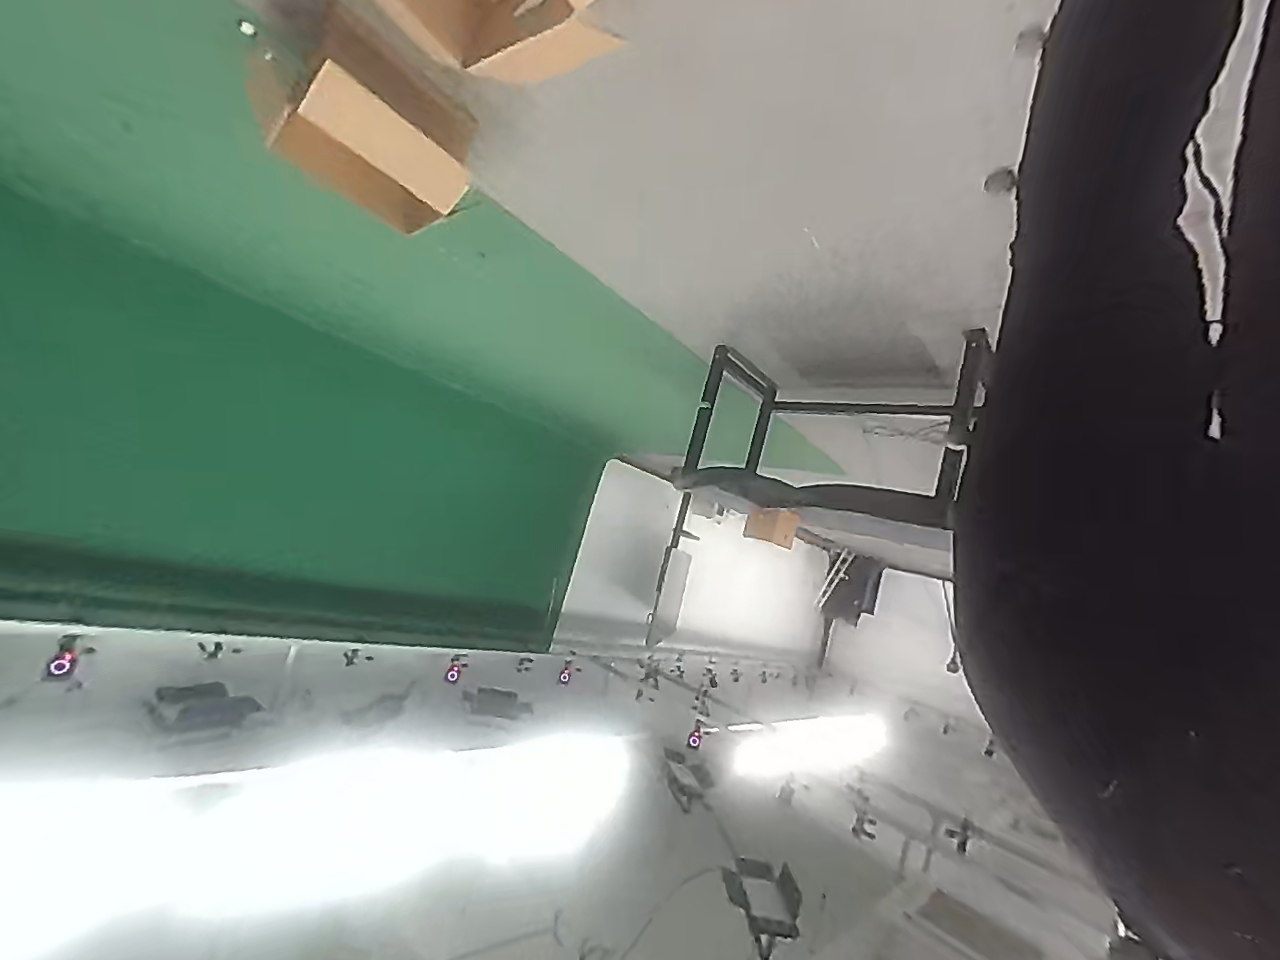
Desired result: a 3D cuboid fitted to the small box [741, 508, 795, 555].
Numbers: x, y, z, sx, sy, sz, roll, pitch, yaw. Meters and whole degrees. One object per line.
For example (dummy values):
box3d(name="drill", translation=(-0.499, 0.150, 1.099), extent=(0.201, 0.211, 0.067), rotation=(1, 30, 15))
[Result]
box3d(name="small box", translation=(0.600, 0.237, 2.512), extent=(0.168, 0.176, 0.179), rotation=(7, 169, 46))
